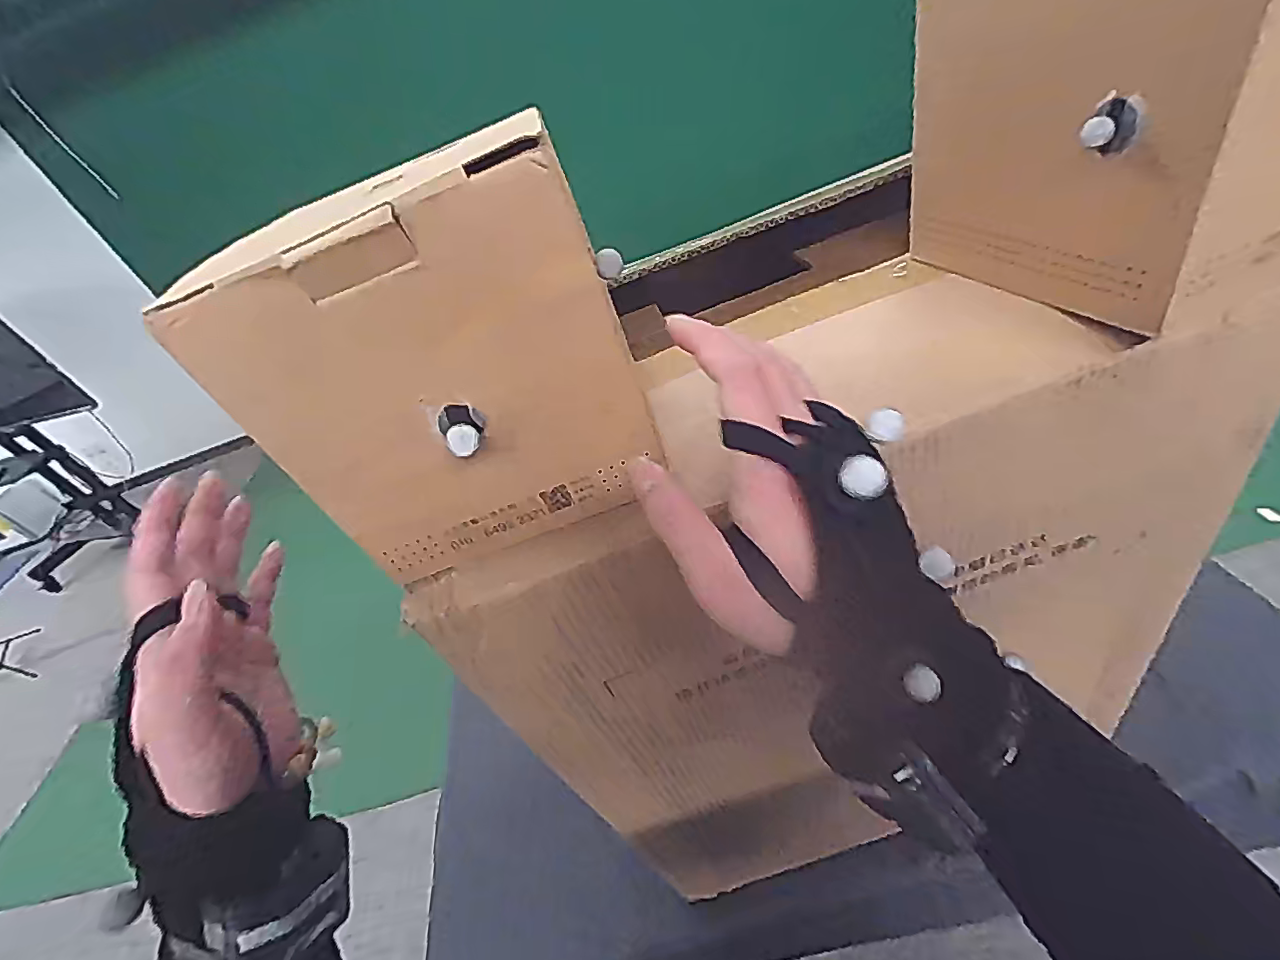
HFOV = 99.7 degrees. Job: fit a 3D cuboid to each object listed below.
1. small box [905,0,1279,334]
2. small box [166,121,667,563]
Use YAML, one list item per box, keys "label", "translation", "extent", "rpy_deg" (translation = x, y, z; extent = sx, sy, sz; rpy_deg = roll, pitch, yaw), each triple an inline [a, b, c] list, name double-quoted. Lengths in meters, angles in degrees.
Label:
- label: "small box"
  translation: [0.270, -0.198, 0.288]
  extent: [0.168, 0.176, 0.179]
  rpy_deg: [-23, 38, -5]
- label: "small box"
  translation: [-0.095, -0.074, 0.313]
  extent: [0.168, 0.176, 0.179]
  rpy_deg: [-20, 39, 3]
